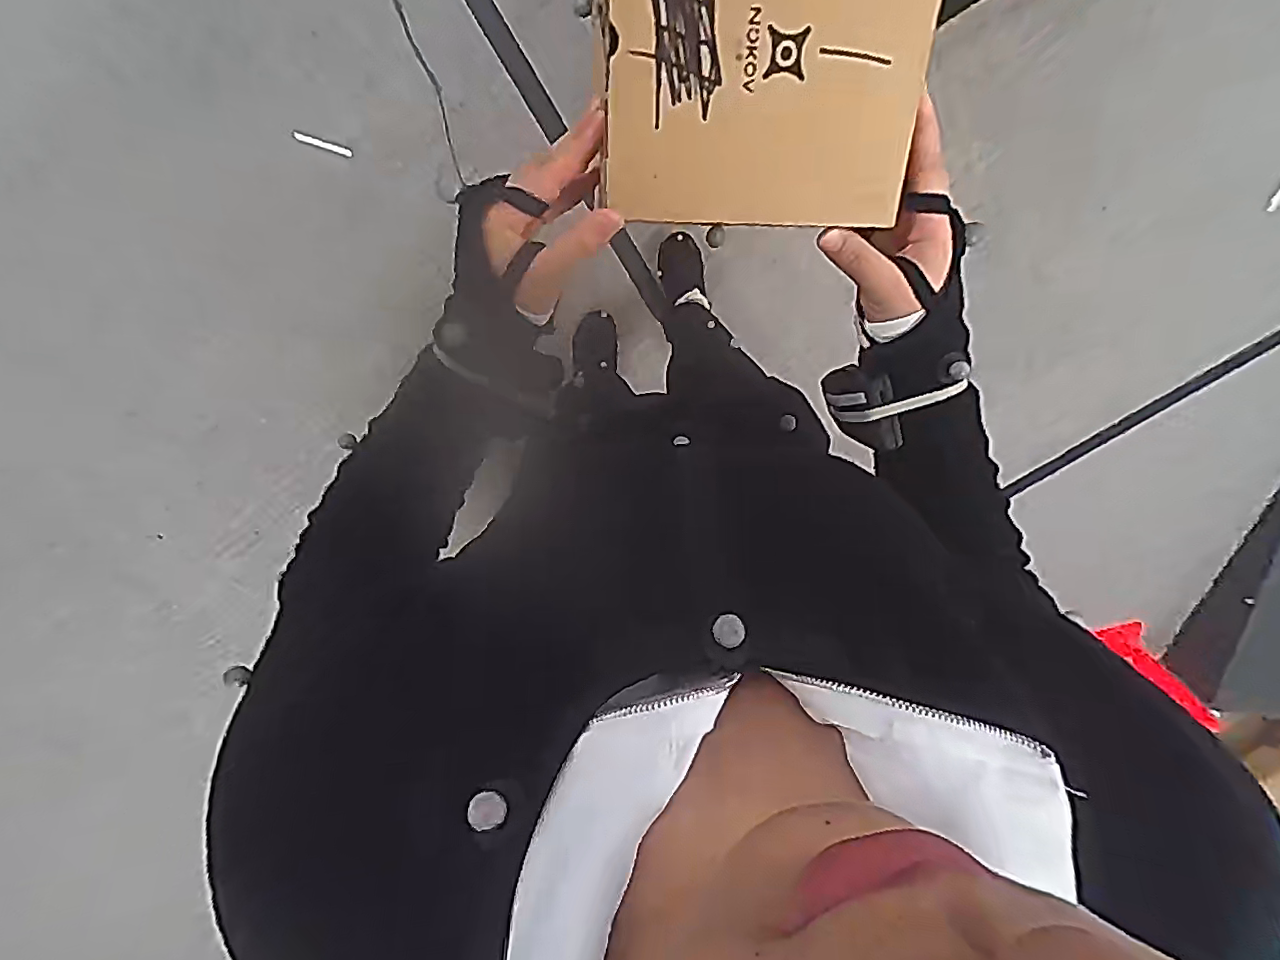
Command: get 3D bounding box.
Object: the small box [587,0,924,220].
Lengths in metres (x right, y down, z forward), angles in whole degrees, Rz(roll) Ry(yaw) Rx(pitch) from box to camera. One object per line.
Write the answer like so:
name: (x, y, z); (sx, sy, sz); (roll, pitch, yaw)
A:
small box: (0.054, -0.263, 0.352); (0.179, 0.176, 0.168); (-2, 116, -6)
